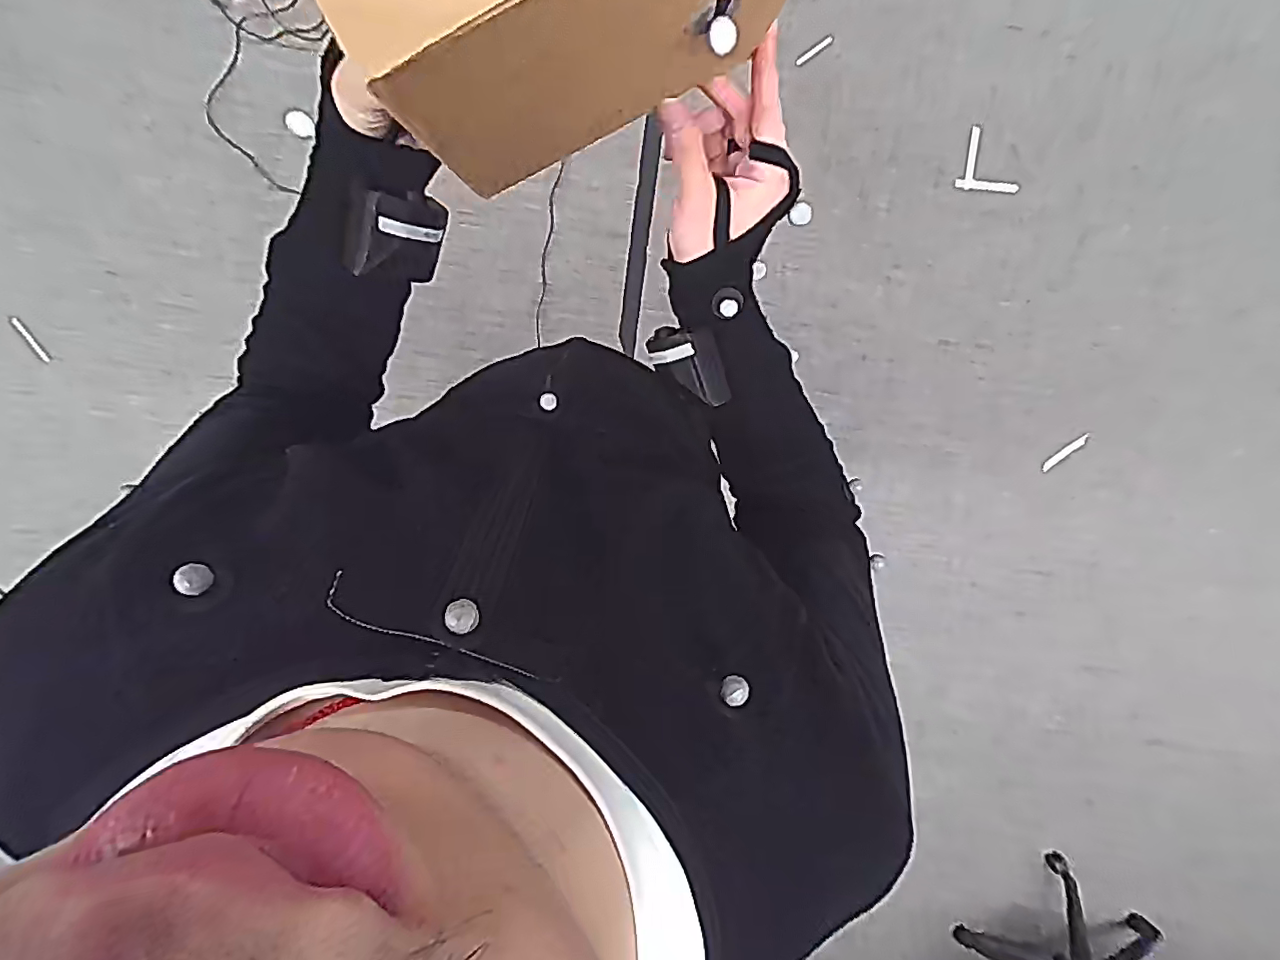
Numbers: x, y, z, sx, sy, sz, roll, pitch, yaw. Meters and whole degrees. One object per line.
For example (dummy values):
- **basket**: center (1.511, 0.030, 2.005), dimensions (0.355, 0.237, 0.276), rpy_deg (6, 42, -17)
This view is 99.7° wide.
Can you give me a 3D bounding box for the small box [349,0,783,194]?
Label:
- **small box**: center (-0.039, -0.250, 0.221), dimensions (0.179, 0.176, 0.168), rpy_deg (-26, 106, 5)
